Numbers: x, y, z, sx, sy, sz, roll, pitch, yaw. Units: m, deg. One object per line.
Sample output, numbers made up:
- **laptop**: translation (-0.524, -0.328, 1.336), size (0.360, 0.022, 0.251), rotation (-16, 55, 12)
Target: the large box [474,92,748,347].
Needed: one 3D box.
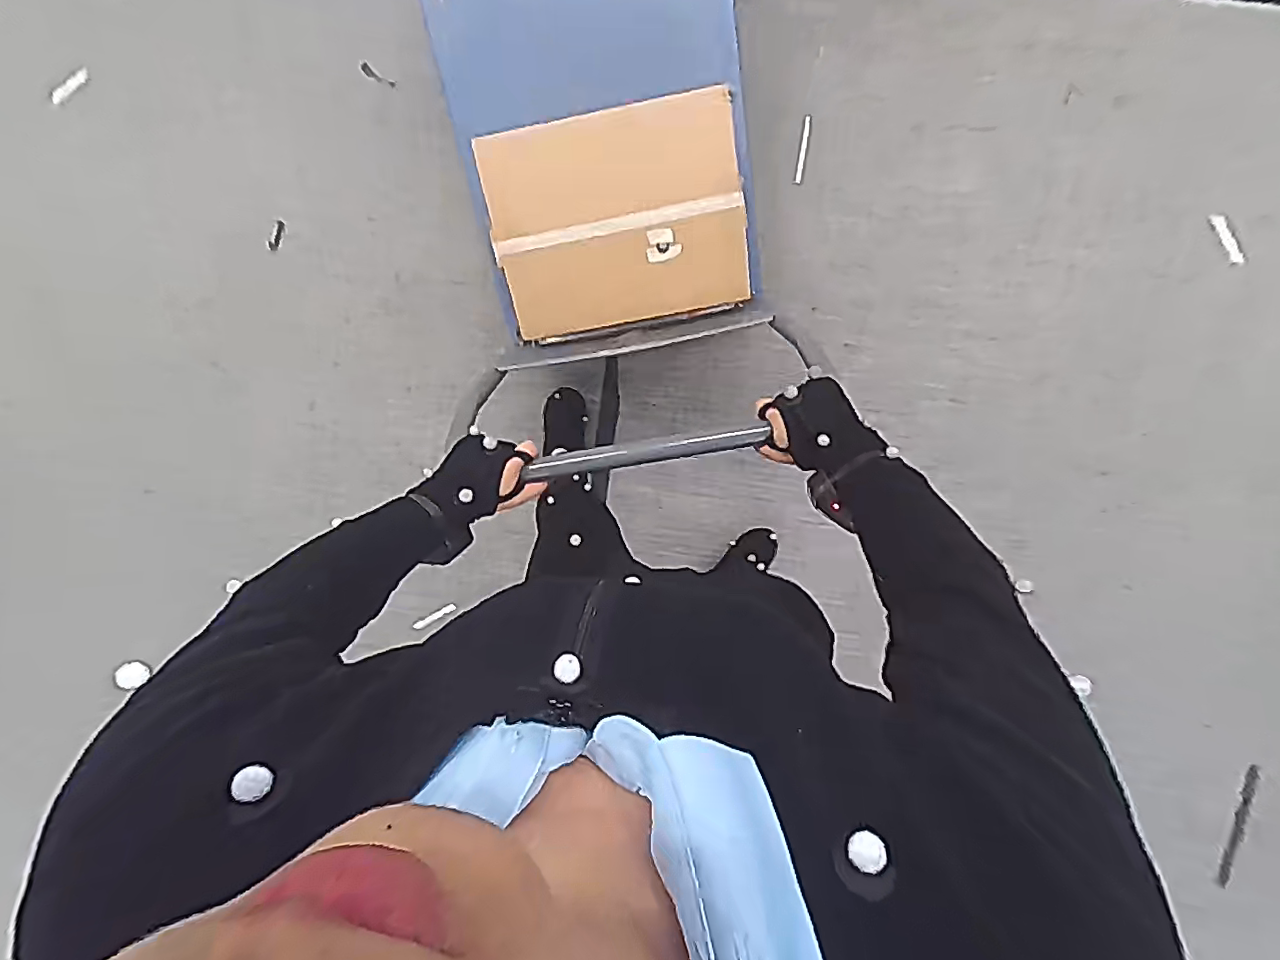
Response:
- **large box**: translation (-0.040, -0.465, 1.017), size (0.408, 0.320, 0.320), rotation (-10, 114, 3)
